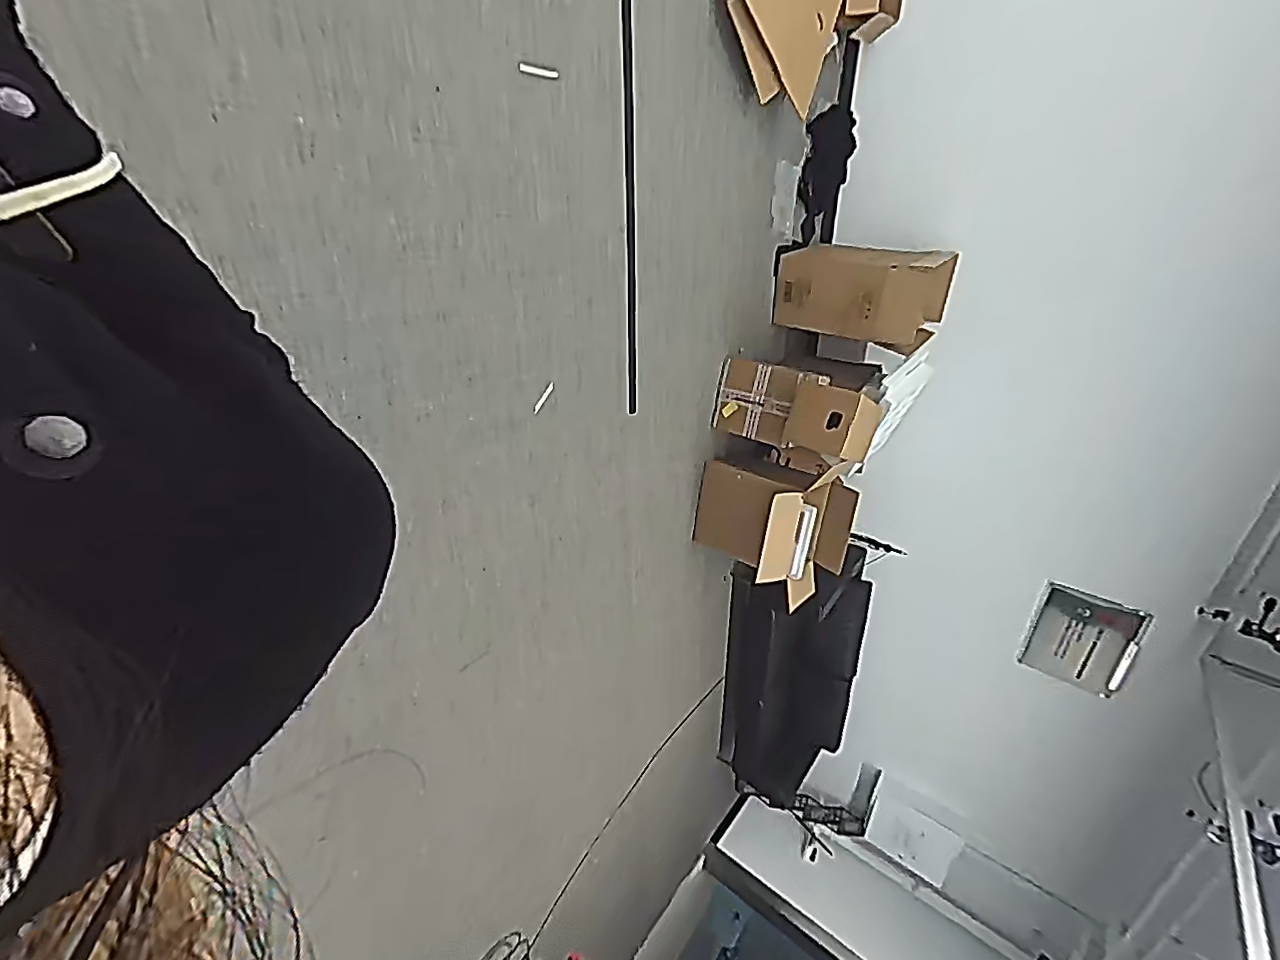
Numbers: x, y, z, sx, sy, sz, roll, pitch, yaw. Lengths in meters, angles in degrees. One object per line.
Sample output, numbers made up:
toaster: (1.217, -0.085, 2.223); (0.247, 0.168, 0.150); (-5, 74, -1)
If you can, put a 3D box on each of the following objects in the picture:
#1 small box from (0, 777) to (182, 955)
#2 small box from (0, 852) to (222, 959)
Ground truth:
small box: (-0.723, 0.543, 0.705); (0.179, 0.176, 0.168); (-26, 126, -46)
small box: (-0.597, 0.589, 0.614); (0.179, 0.176, 0.168); (-26, 125, -46)
